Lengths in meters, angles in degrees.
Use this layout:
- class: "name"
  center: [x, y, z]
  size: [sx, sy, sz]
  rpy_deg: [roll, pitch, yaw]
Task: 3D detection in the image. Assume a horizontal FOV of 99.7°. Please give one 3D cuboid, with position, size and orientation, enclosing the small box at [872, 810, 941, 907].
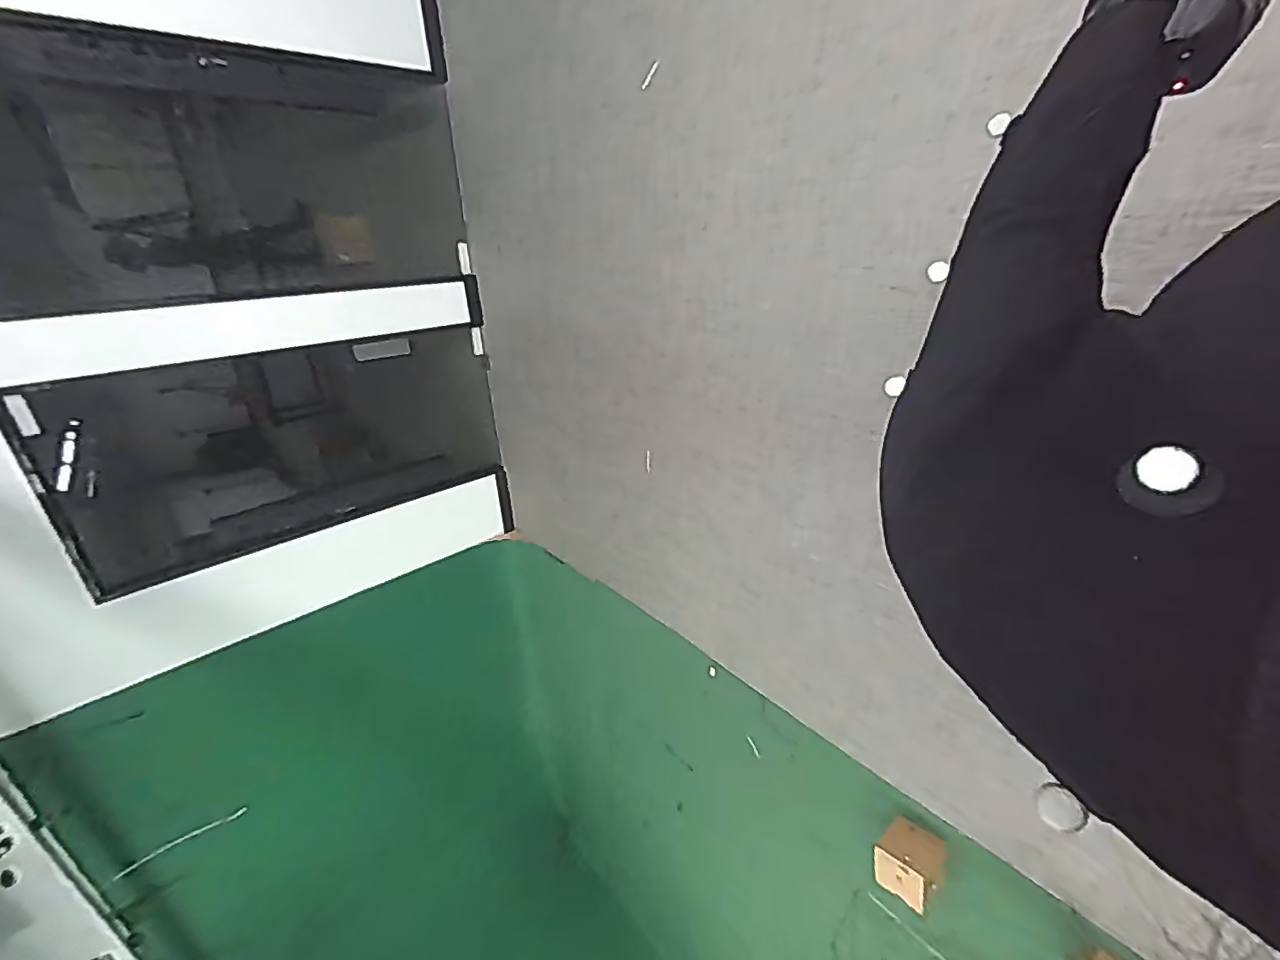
- class: "small box"
  center: [0.927, 1.310, 1.881]
  size: [0.168, 0.176, 0.179]
  rpy_deg: [13, 118, 48]

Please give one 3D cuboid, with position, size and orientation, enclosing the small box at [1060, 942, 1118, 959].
- class: "small box"
  center: [1.286, 1.446, 1.507]
  size: [0.168, 0.176, 0.179]
  rpy_deg: [40, 135, 32]
